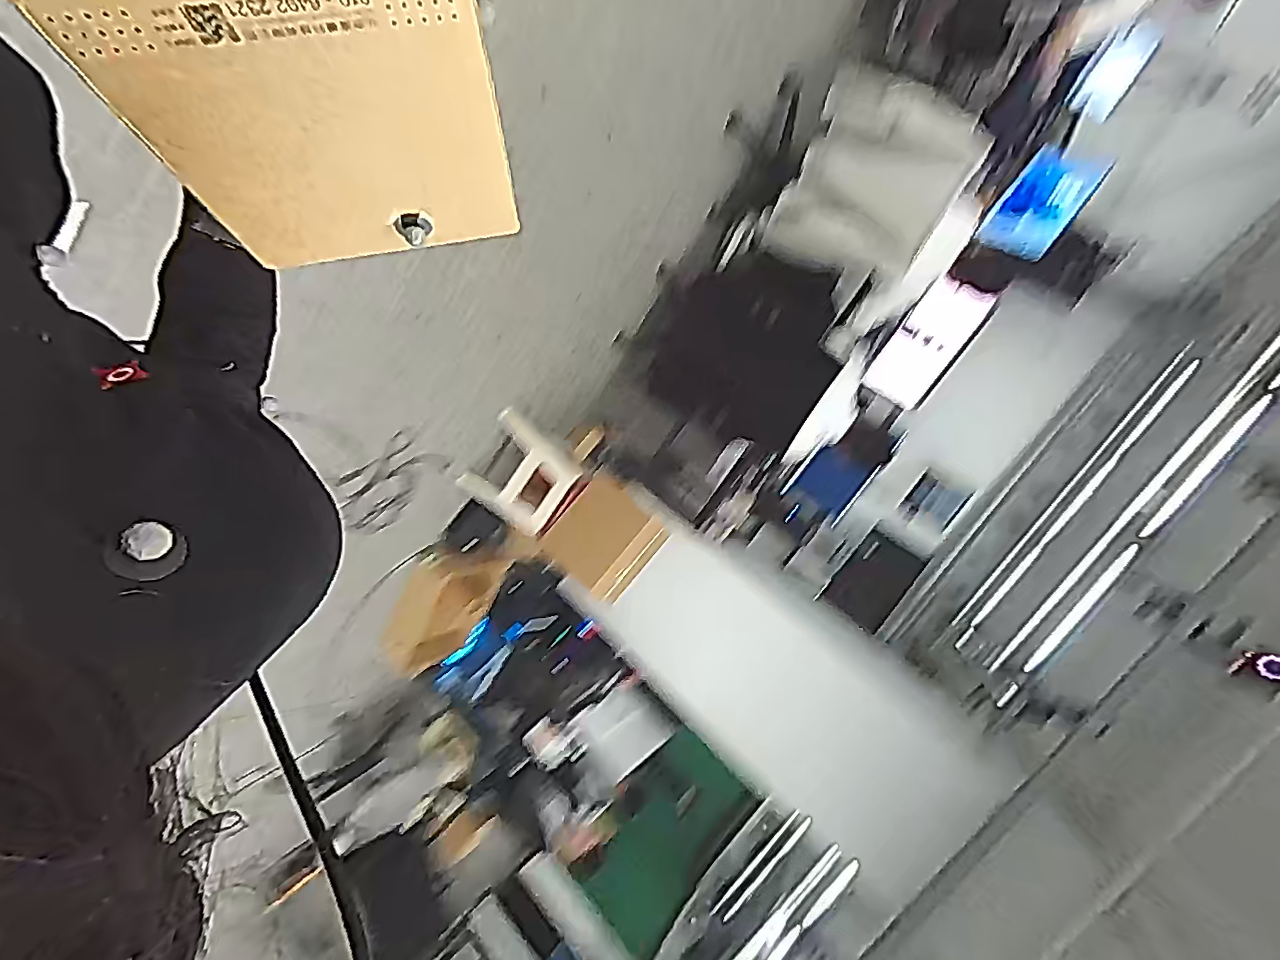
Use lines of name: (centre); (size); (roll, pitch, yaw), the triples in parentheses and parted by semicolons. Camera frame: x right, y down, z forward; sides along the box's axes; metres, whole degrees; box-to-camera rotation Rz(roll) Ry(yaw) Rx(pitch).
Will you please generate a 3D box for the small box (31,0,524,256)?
small box: (-0.170, -0.257, 0.287); (0.168, 0.179, 0.176); (-13, 170, -5)
